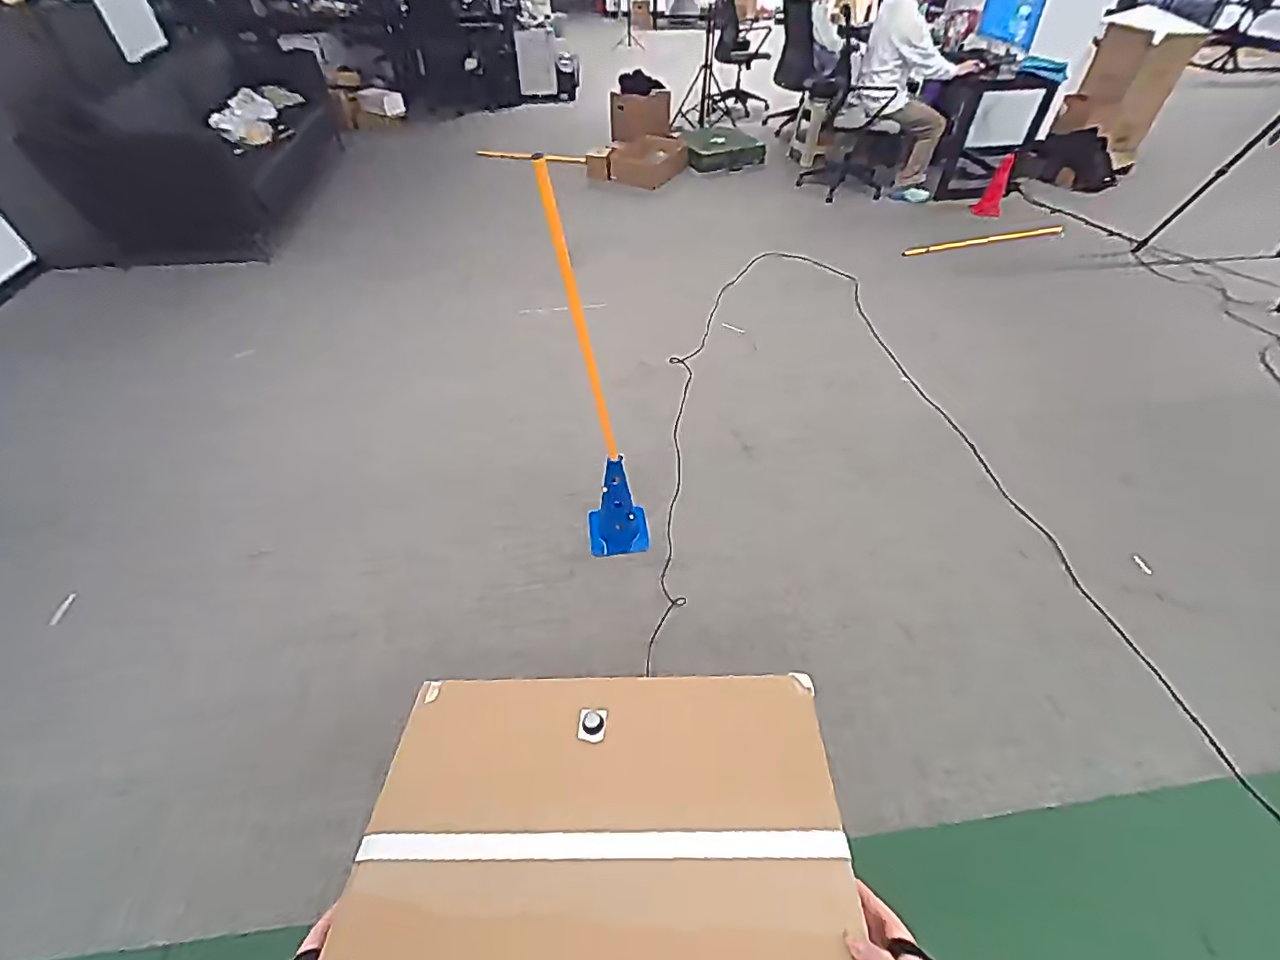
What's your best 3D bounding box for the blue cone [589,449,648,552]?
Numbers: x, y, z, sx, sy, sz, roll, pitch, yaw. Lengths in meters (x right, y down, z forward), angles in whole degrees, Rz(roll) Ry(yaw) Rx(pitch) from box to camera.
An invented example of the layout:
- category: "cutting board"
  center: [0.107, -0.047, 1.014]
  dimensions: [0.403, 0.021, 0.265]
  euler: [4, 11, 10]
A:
- category: "blue cone"
  center: [-0.080, 0.054, 1.748]
  dimensions: [0.193, 0.380, 0.192]
  euler: [-8, 47, -6]
